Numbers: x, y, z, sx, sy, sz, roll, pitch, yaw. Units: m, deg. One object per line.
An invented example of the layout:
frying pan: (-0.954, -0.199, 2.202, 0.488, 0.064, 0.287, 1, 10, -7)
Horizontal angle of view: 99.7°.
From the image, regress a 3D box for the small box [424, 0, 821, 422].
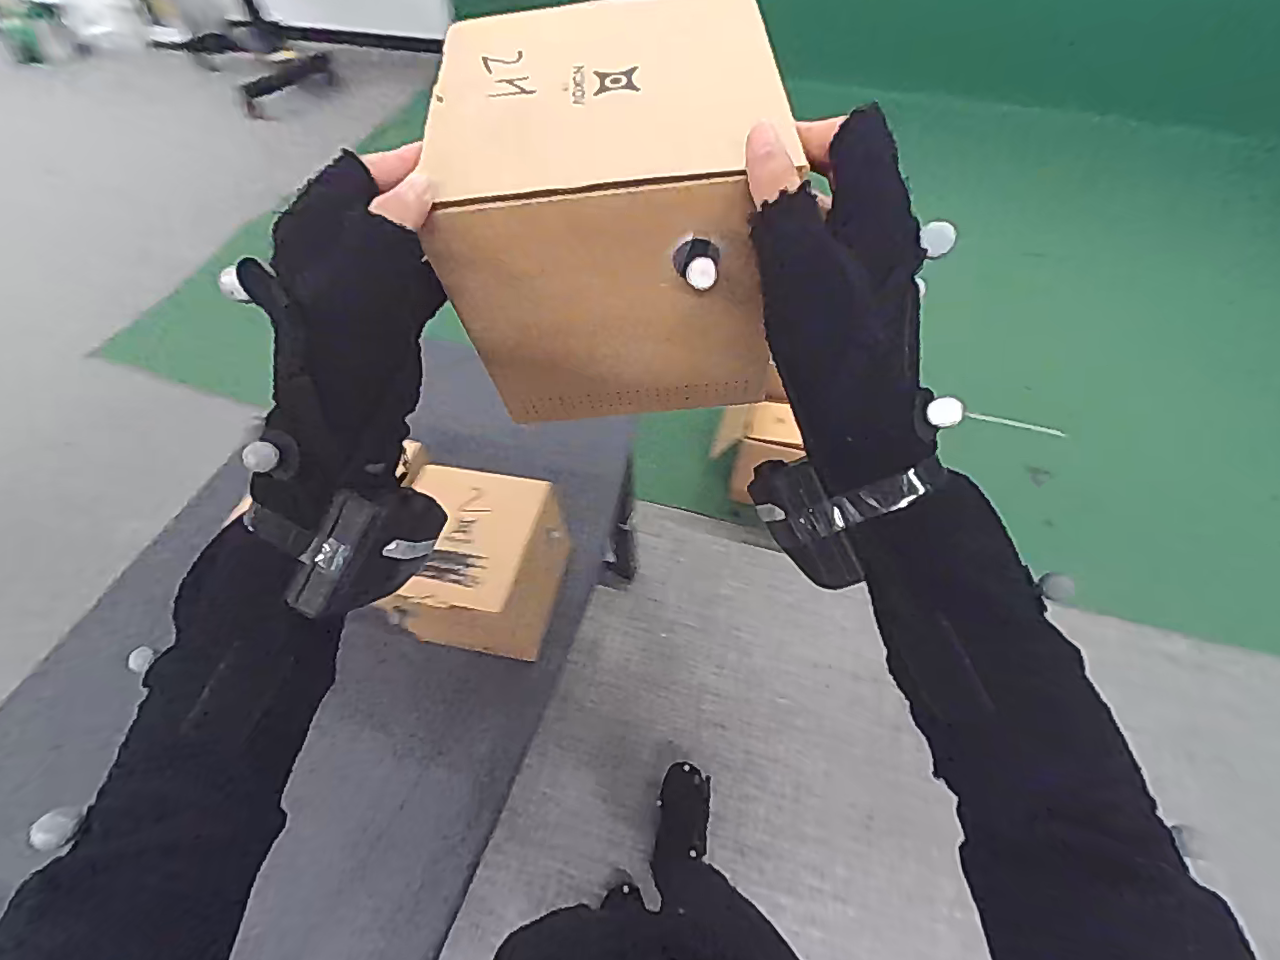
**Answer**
small box: (-0.004, -0.151, 0.339, 0.179, 0.176, 0.168, -3, 61, 4)
